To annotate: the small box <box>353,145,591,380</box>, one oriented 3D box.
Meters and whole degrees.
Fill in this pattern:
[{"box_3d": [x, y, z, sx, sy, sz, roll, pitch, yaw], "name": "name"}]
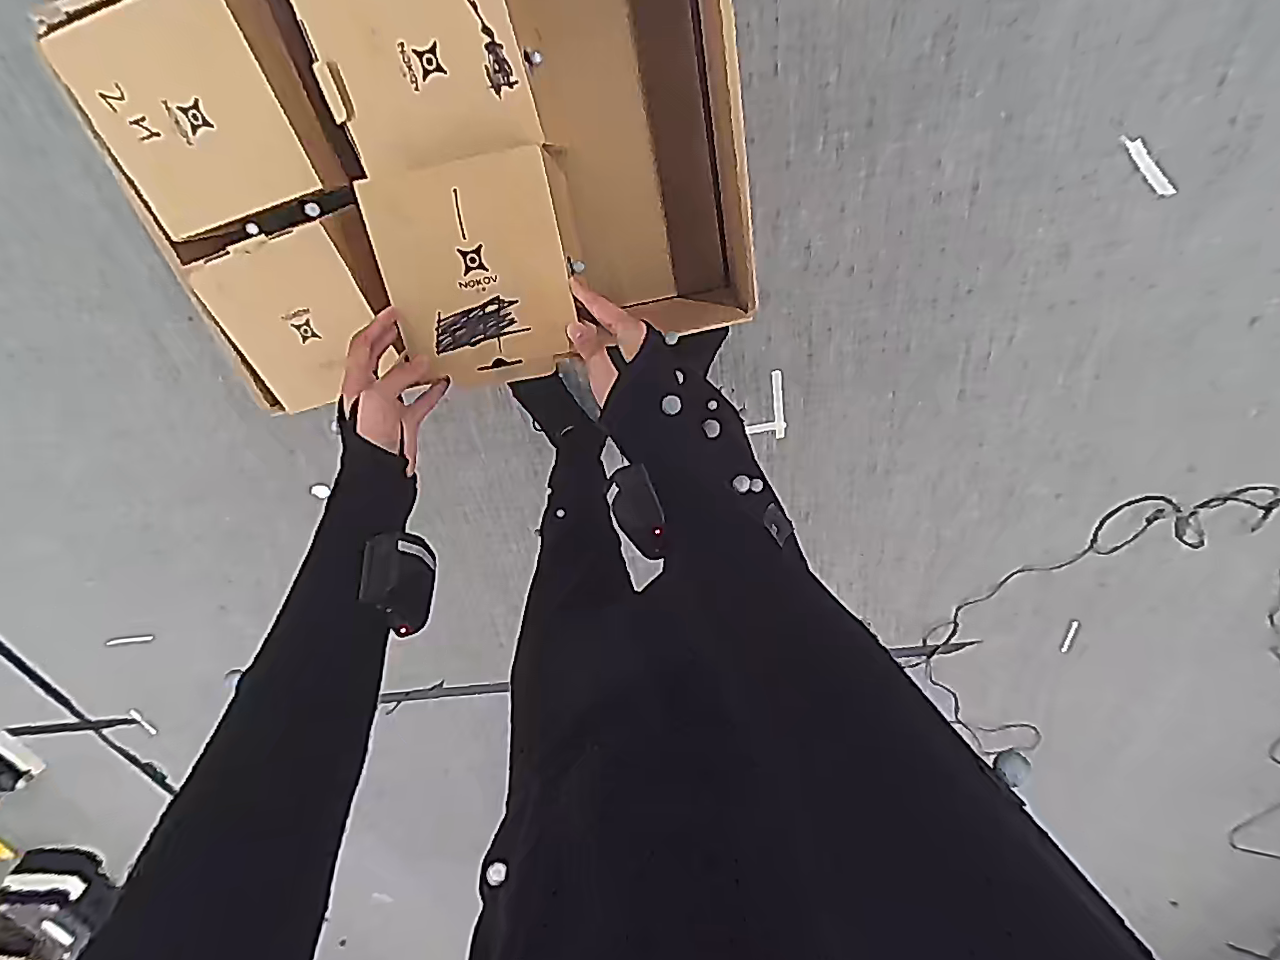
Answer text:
[{"box_3d": [-0.151, -0.213, 0.557, 0.168, 0.176, 0.179, -9, 108, 3], "name": "small box"}]
